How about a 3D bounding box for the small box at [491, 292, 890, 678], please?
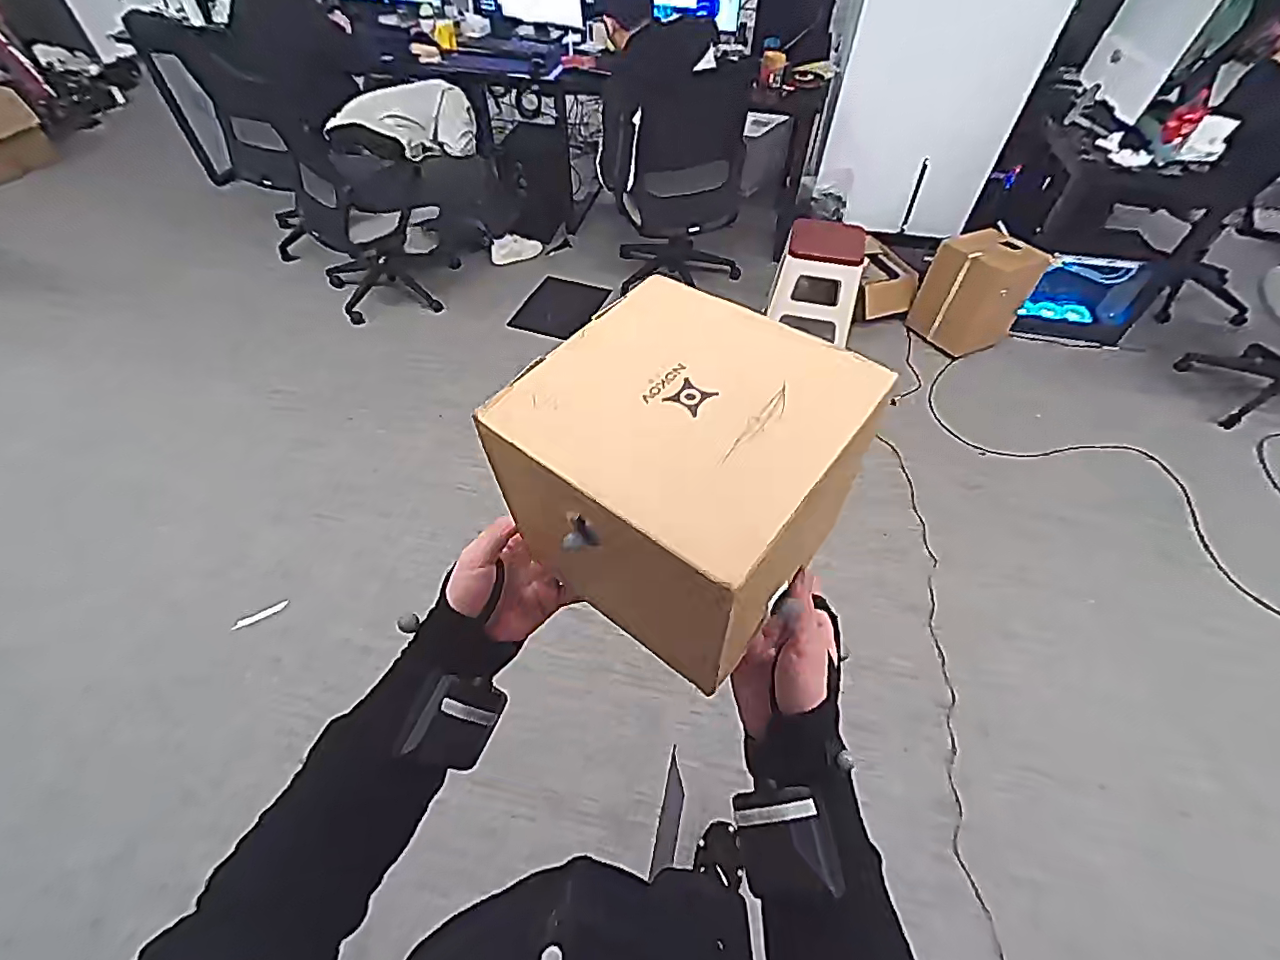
[{"bbox_3d":[0.032,0.006,0.375,0.179,0.176,0.168,31,60,23],"label":"small box"}]
